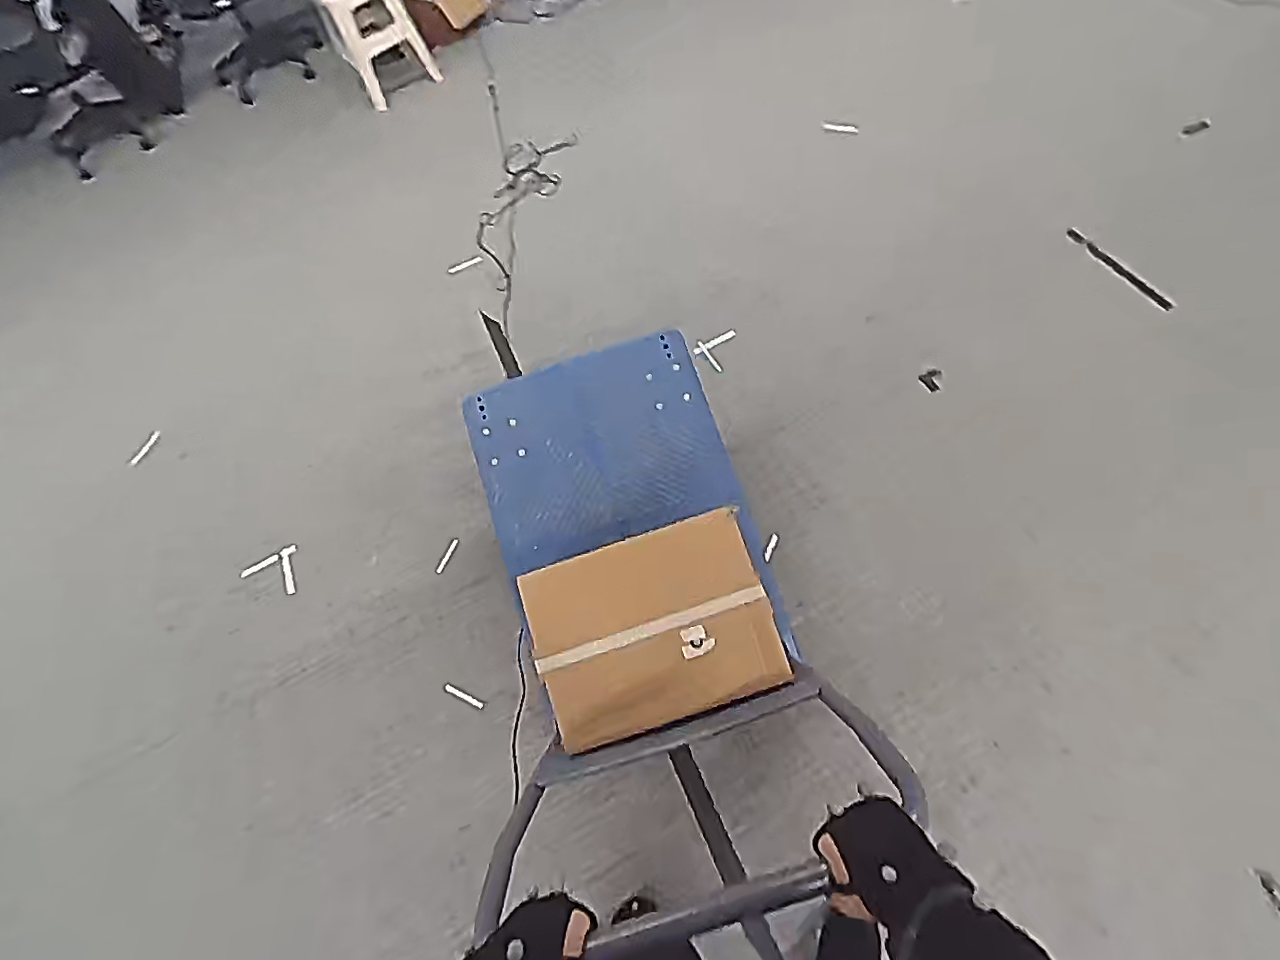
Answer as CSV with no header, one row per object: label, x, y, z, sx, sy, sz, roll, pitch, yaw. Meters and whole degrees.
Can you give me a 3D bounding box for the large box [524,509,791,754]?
large box,0.030,0.289,1.094,0.408,0.320,0.320,-19,80,-1
